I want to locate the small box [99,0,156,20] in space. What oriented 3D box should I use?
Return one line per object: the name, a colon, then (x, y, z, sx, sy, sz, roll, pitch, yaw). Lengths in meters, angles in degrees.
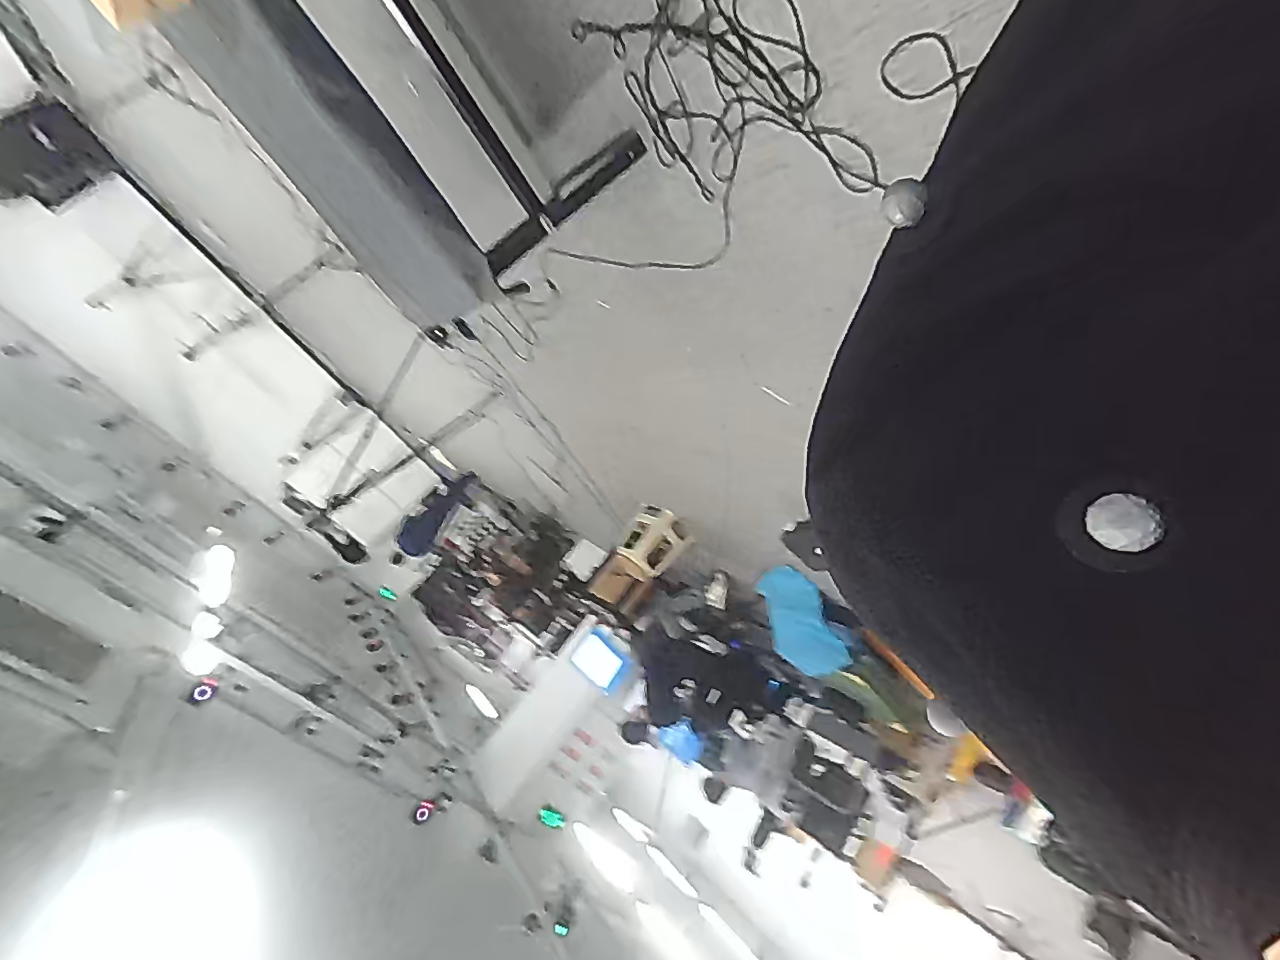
small box: (-1.023, -1.051, 1.035, 0.168, 0.176, 0.179, 15, 148, 52)
